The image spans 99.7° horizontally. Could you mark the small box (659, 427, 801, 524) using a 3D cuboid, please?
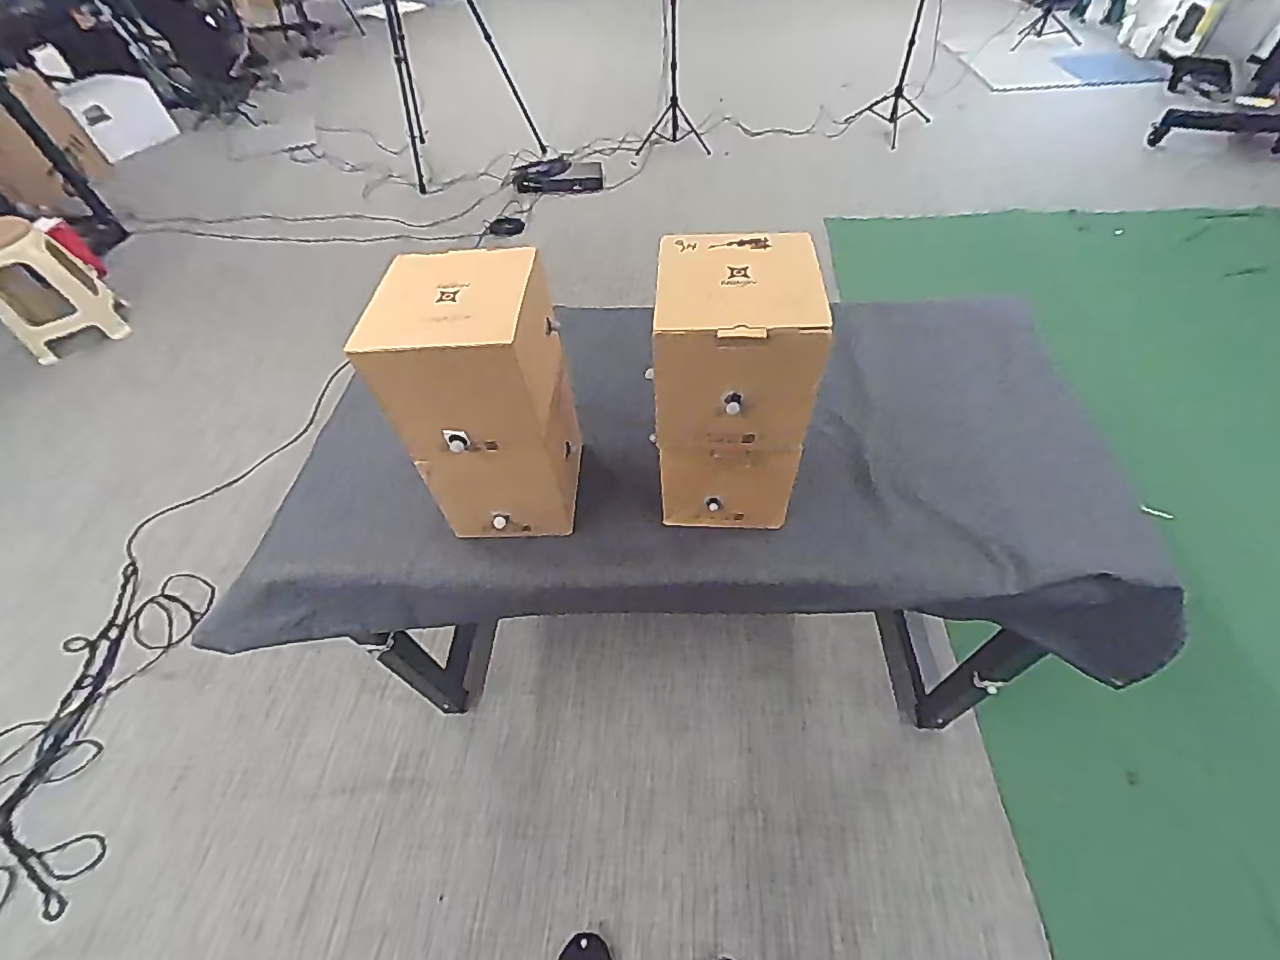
[{"bbox_3d":[0.112,-0.061,0.735,0.168,0.176,0.179,1,52,5],"label":"small box"}]

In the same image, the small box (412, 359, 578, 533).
[{"bbox_3d":[-0.181,-0.044,0.741,0.168,0.176,0.179,-2,52,3],"label":"small box"}]

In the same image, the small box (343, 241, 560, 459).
[{"bbox_3d":[-0.191,-0.144,0.612,0.168,0.176,0.179,-3,53,4],"label":"small box"}]

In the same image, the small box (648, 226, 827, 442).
[{"bbox_3d":[0.100,-0.157,0.603,0.168,0.176,0.179,1,53,5],"label":"small box"}]
